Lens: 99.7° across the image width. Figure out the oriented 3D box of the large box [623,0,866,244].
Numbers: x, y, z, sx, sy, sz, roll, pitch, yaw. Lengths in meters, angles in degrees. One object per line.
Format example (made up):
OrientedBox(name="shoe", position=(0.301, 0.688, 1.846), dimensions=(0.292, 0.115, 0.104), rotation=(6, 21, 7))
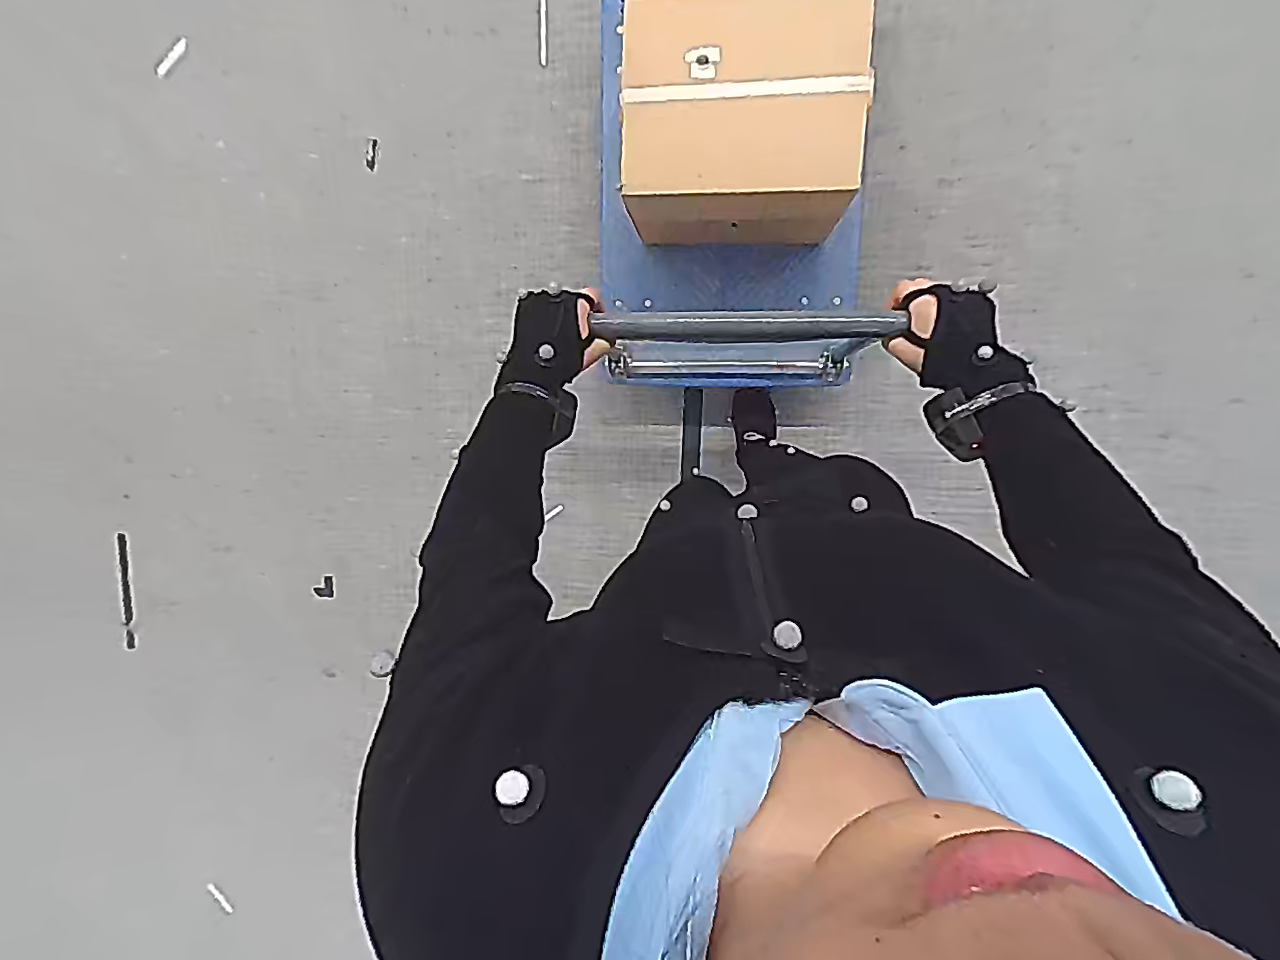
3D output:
OrientedBox(name="large box", position=(0.192, -0.669, 1.059), dimensions=(0.408, 0.320, 0.320), rotation=(3, 97, 9))
